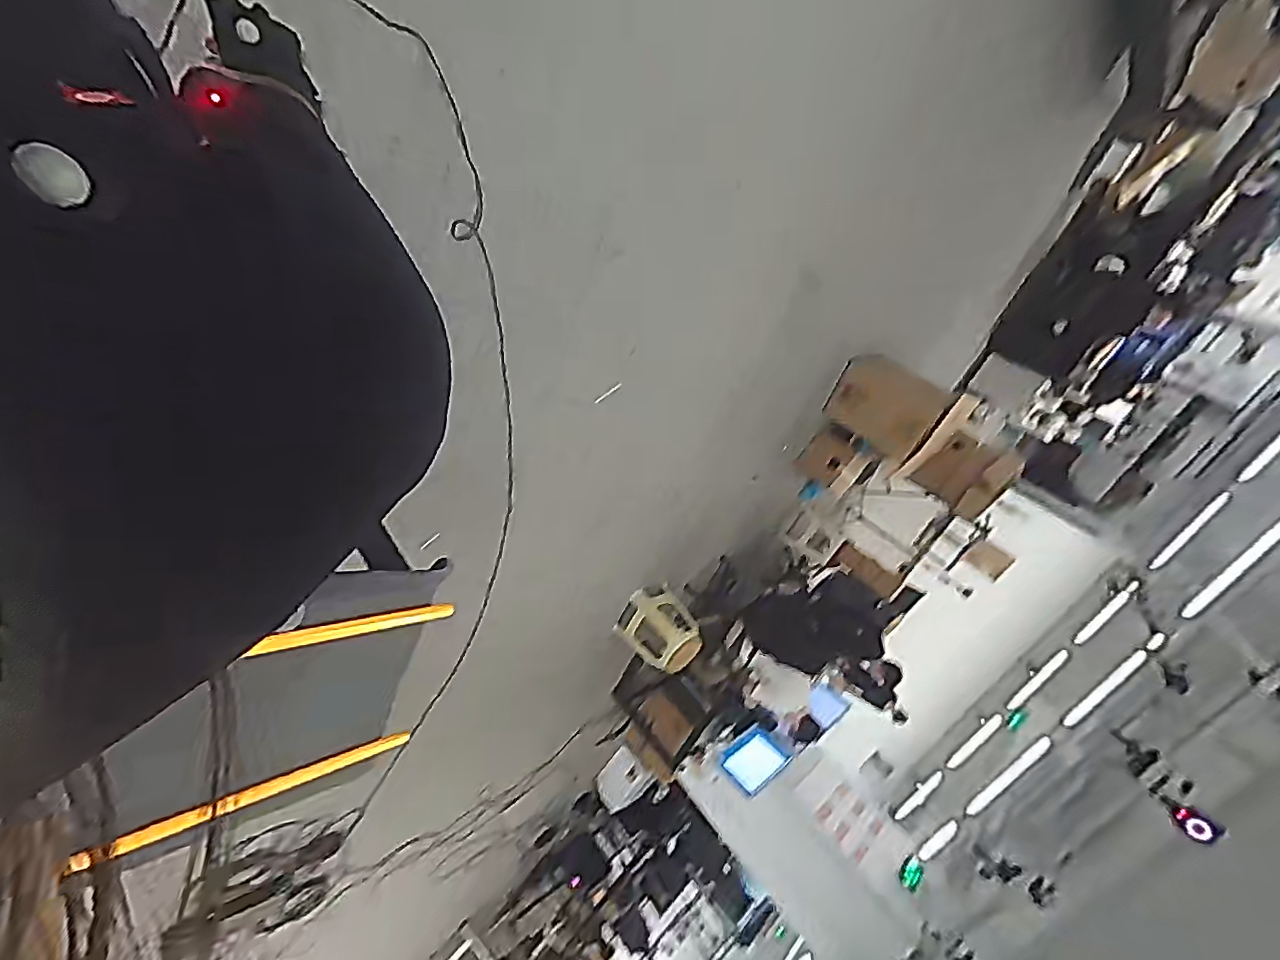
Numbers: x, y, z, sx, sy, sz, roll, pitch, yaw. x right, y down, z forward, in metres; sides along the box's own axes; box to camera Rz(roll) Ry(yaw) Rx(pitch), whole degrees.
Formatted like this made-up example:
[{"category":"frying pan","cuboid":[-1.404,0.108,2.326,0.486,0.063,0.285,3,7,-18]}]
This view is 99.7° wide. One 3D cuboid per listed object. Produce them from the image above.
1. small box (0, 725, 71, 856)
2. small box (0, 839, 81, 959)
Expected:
[{"category":"small box","cuboid":[-0.819,0.439,0.655,0.168,0.176,0.179,-2,127,-51]},{"category":"small box","cuboid":[-0.713,0.533,0.570,0.168,0.176,0.179,-1,125,-50]}]
